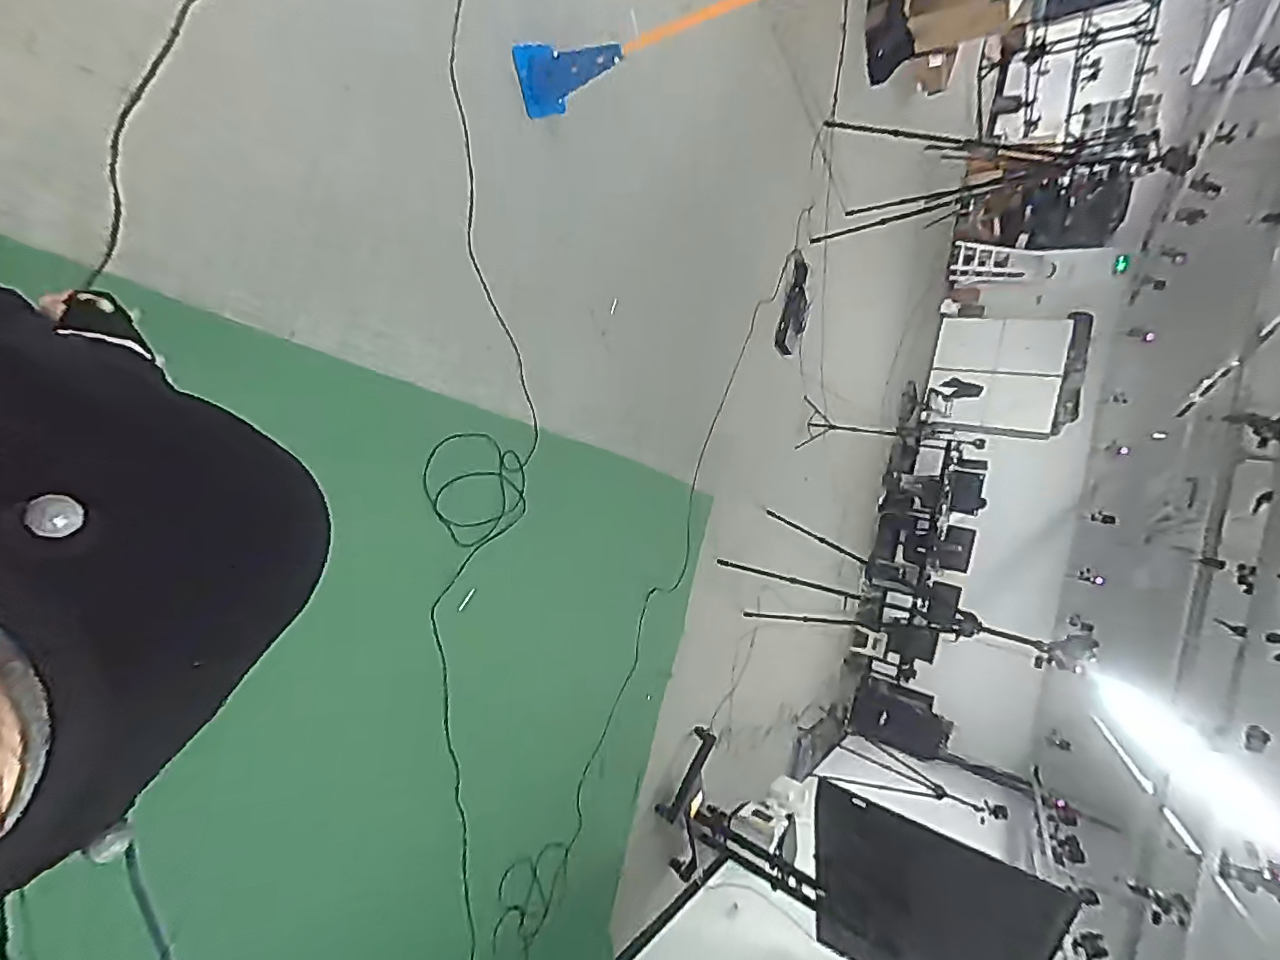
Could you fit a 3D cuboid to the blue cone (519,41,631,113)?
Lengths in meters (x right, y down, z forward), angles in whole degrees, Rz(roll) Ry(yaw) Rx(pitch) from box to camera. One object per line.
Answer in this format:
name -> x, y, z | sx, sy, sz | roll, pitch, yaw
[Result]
blue cone -> -0.192, -1.339, 1.737 | 0.193, 0.380, 0.192 | -48, 135, -40
